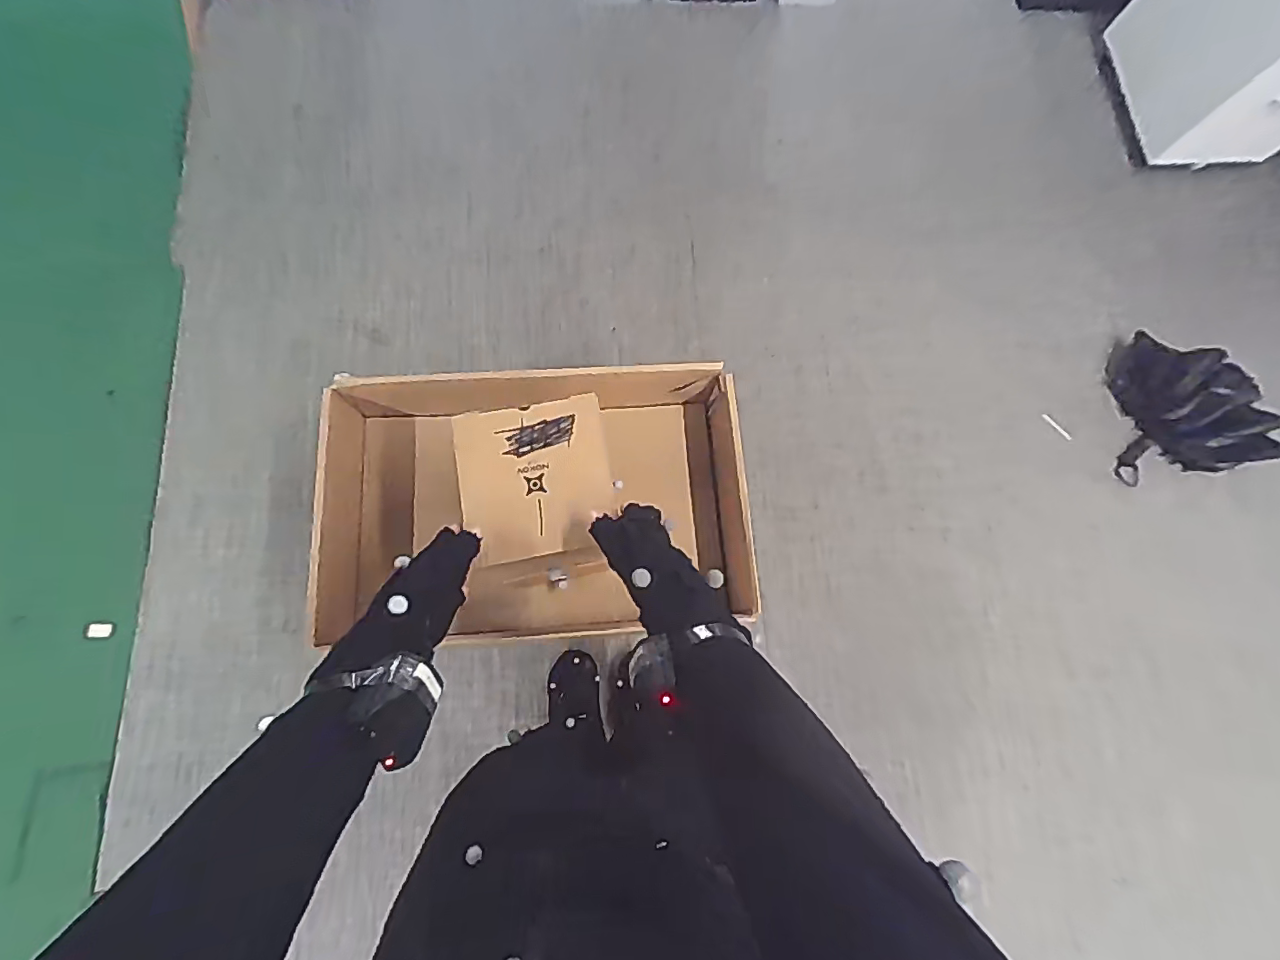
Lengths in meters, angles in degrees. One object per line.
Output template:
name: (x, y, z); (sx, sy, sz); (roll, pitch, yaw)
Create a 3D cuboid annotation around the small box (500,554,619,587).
small box: (-0.128, 0.062, 0.835); (0.168, 0.176, 0.179); (-10, 77, -5)

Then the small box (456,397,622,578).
small box: (-0.119, 0.019, 0.677); (0.168, 0.176, 0.179); (-10, 77, -4)
